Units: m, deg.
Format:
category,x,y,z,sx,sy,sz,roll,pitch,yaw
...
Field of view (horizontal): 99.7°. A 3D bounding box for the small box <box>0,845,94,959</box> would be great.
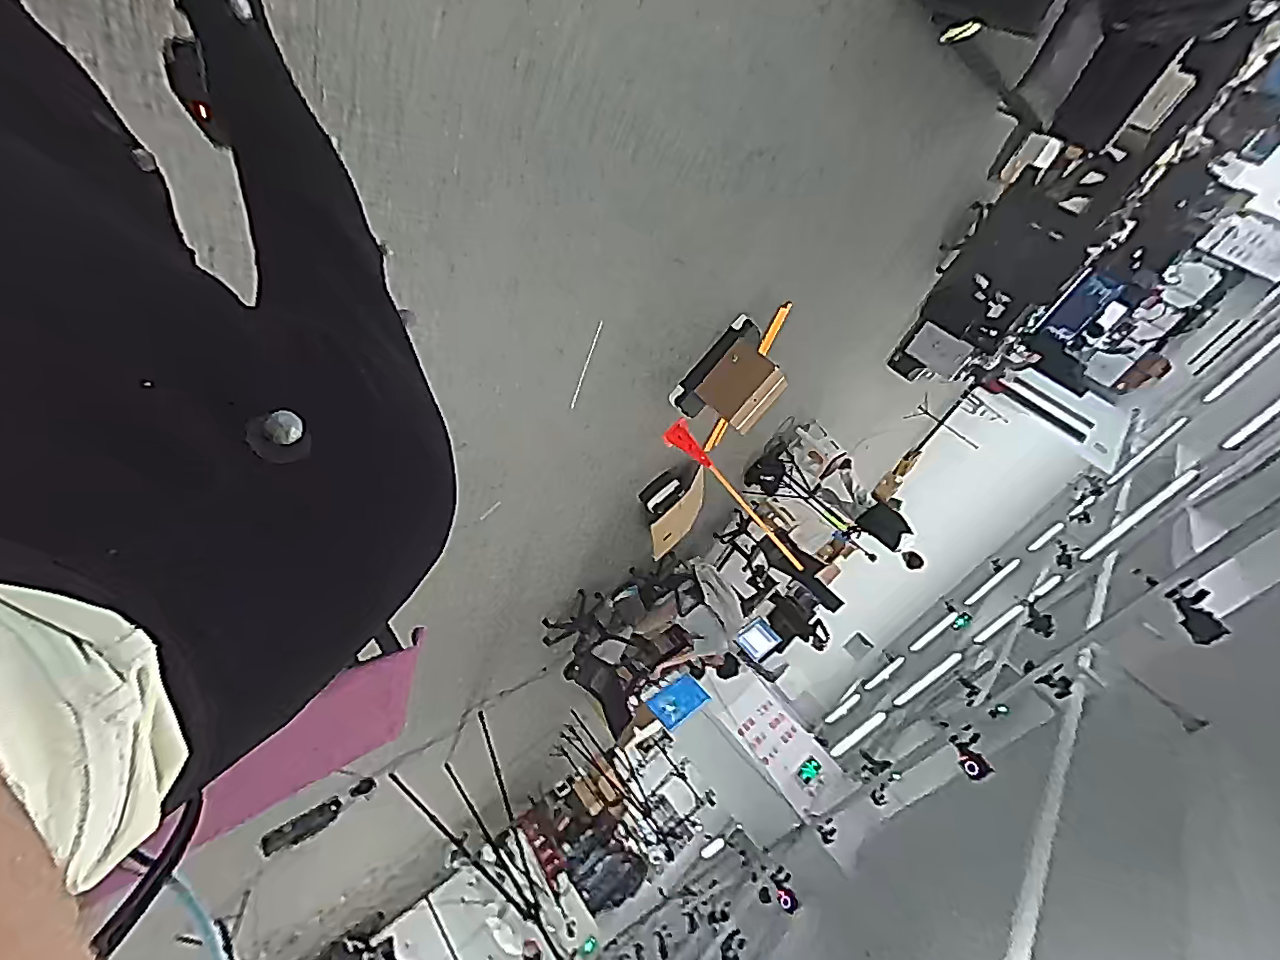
category,x,y,z,sx,sy,sz,roll,pitch,yaw
small box,-1.420,1.005,1.255,0.179,0.176,0.168,-18,145,-45
